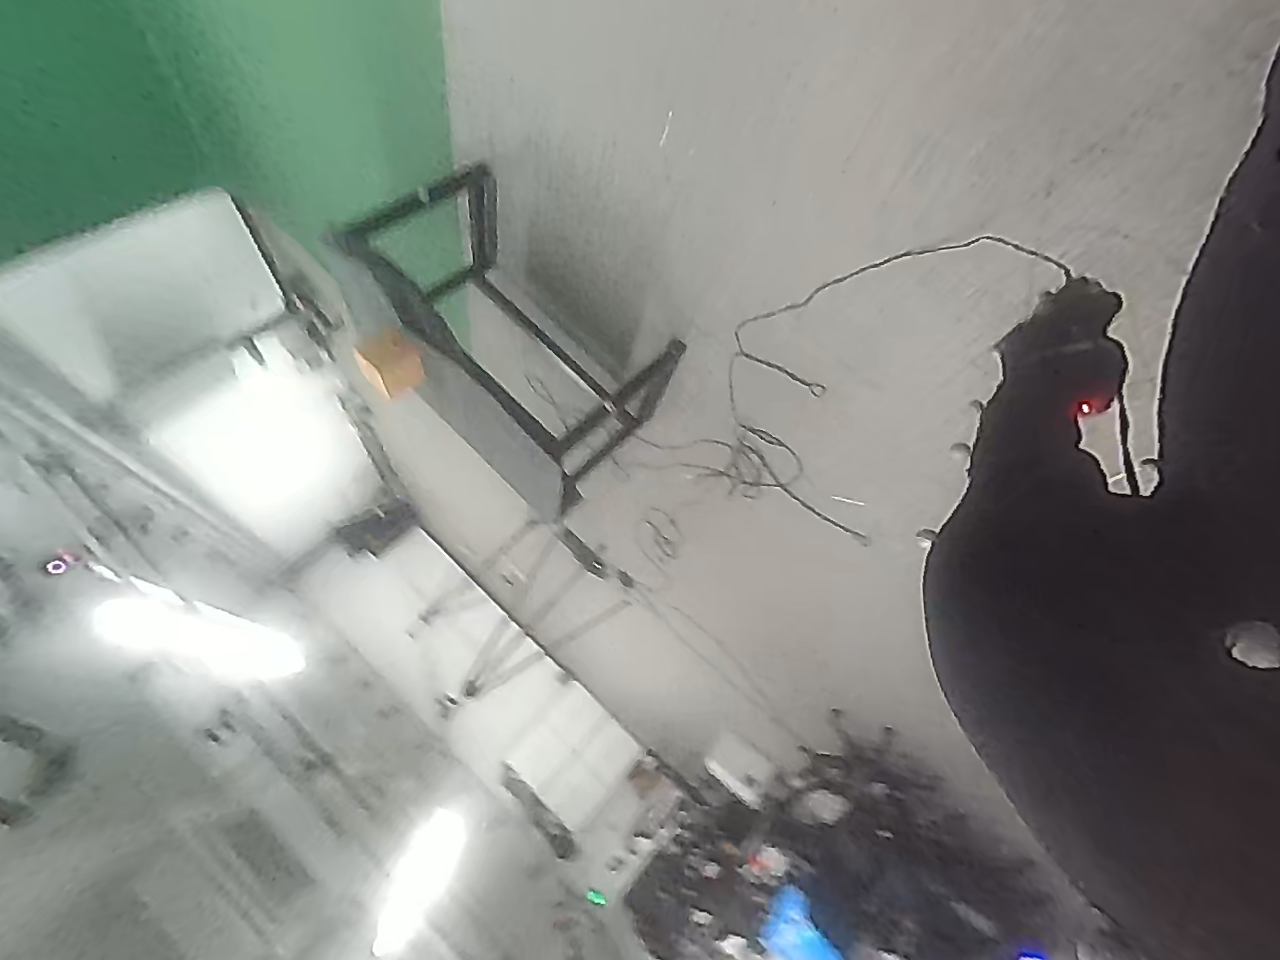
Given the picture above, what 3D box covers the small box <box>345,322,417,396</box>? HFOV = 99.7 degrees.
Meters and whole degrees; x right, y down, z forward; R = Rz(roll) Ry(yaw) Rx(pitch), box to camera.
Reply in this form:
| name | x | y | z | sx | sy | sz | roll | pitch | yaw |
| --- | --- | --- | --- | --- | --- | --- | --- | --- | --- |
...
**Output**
| name | x | y | z | sx | sy | sz | roll | pitch | yaw |
| --- | --- | --- | --- | --- | --- | --- | --- | --- | --- |
| small box | -0.969 | -0.459 | 2.044 | 0.168 | 0.176 | 0.179 | 42 | 154 | 8 |
